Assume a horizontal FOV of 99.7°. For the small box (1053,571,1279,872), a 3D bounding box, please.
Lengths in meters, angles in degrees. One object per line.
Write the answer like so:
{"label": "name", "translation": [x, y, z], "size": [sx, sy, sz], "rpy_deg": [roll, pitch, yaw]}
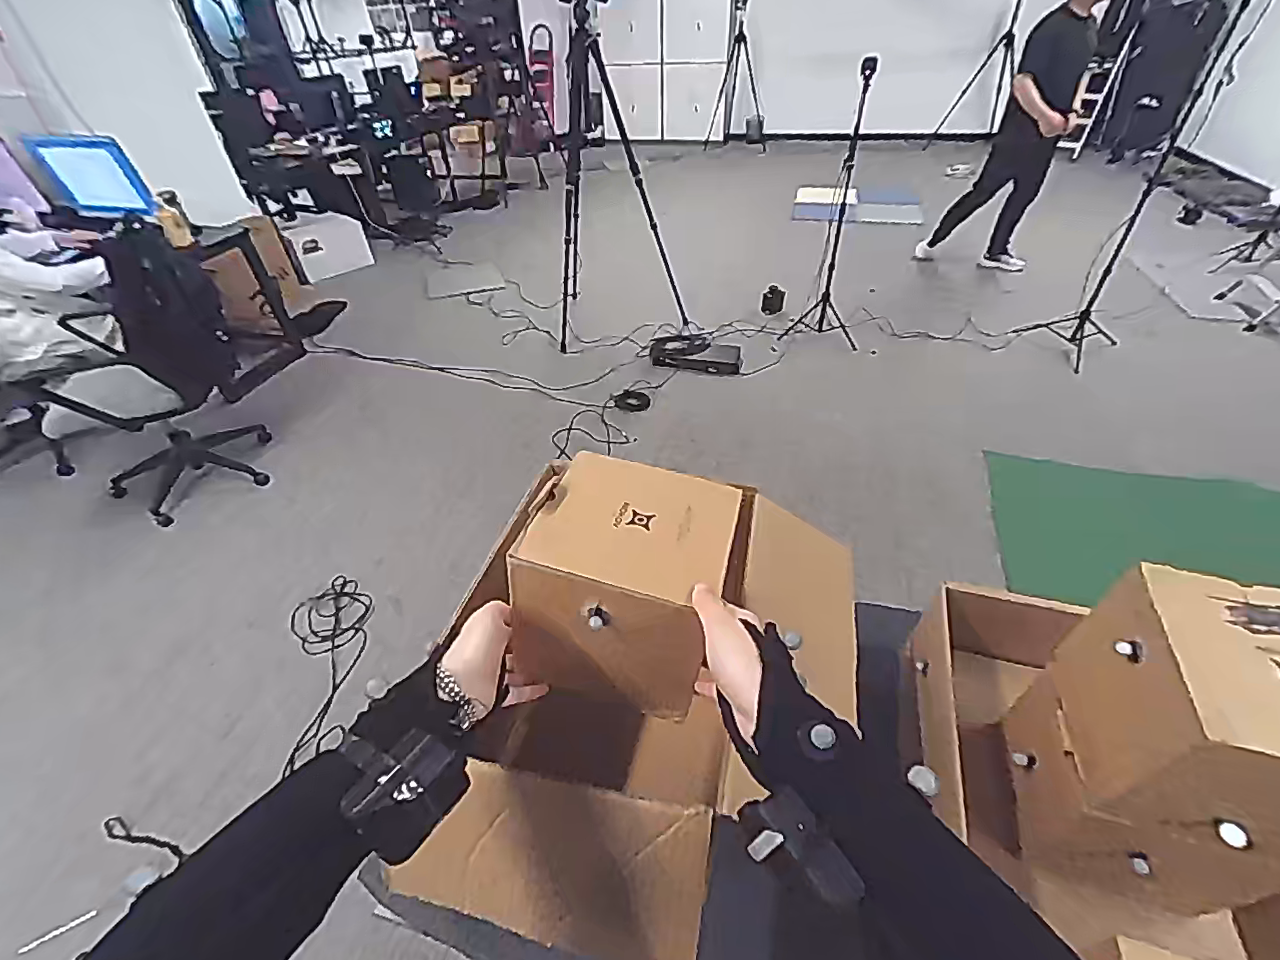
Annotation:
{"label": "small box", "translation": [0.522, 0.218, 0.500], "size": [0.168, 0.176, 0.179], "rpy_deg": [11, 45, 16]}

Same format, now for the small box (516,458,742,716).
{"label": "small box", "translation": [-0.009, 0.106, 0.545], "size": [0.179, 0.176, 0.168], "rpy_deg": [15, 37, 9]}
